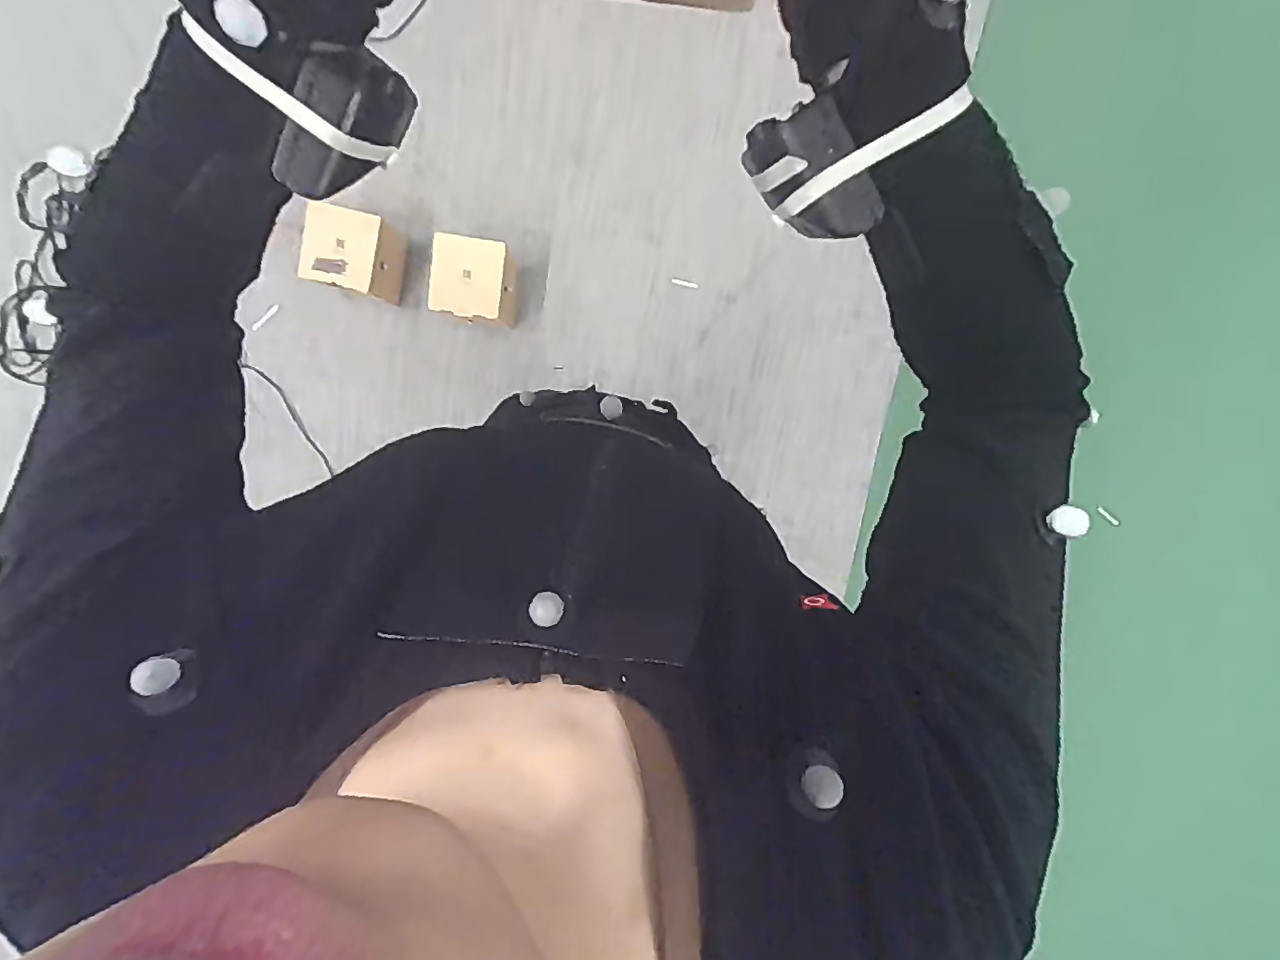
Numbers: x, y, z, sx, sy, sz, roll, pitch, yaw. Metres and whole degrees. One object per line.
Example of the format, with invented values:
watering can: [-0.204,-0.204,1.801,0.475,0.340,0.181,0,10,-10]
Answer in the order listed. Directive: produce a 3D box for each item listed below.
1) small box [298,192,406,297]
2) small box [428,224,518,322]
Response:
small box: [-0.686,-0.555,1.304,0.168,0.176,0.179,13,97,-3]
small box: [-0.401,-0.497,1.322,0.168,0.176,0.179,8,99,-3]
